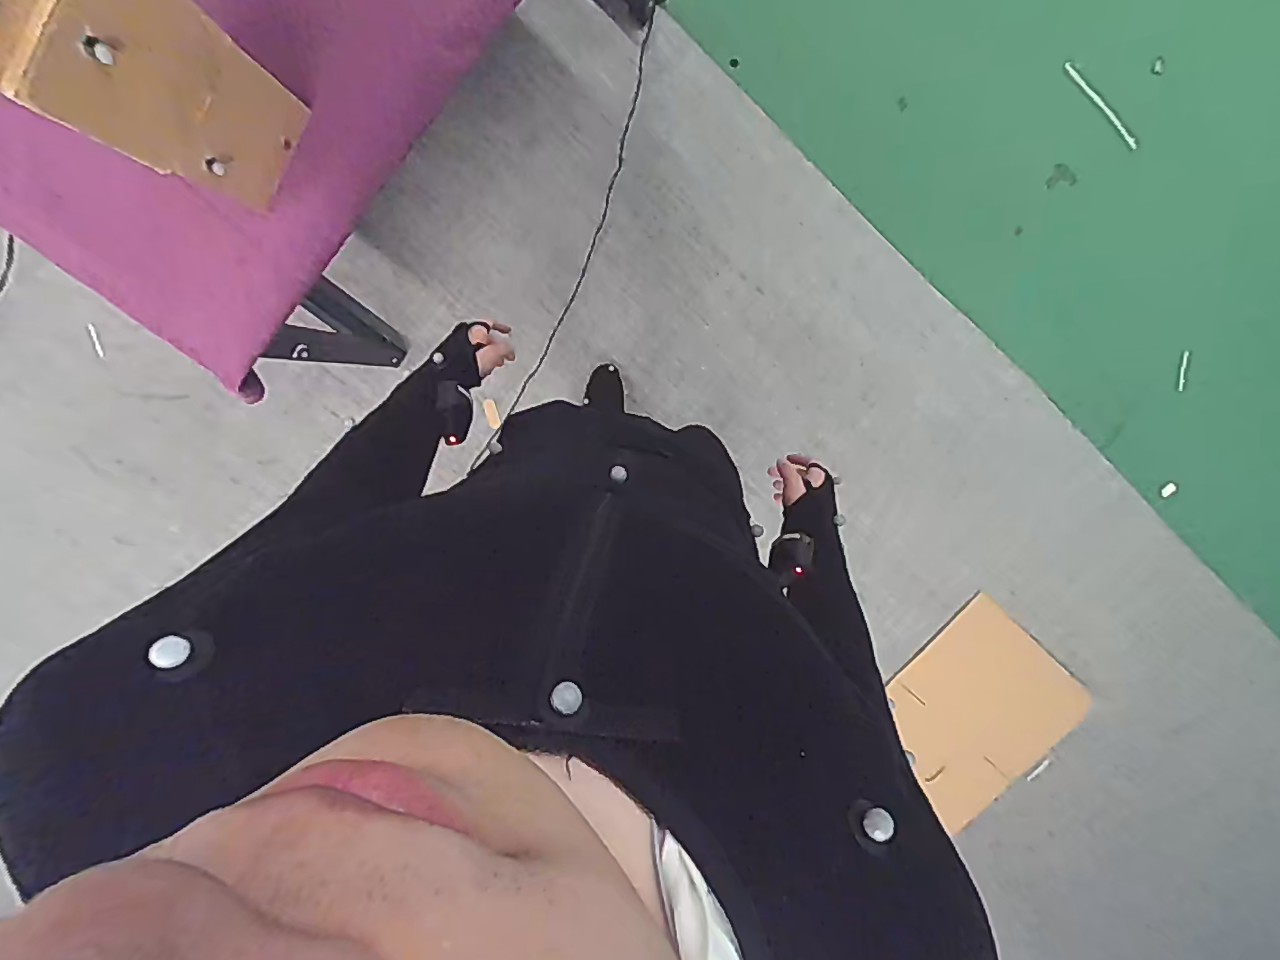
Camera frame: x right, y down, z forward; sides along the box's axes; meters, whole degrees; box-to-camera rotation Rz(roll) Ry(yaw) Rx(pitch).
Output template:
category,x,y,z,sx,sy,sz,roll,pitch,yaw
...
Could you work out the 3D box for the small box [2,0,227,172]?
category,x,y,z,sx,sy,sz,roll,pitch,yaw
small box,-0.571,-0.459,0.542,0.168,0.176,0.179,32,98,-7
